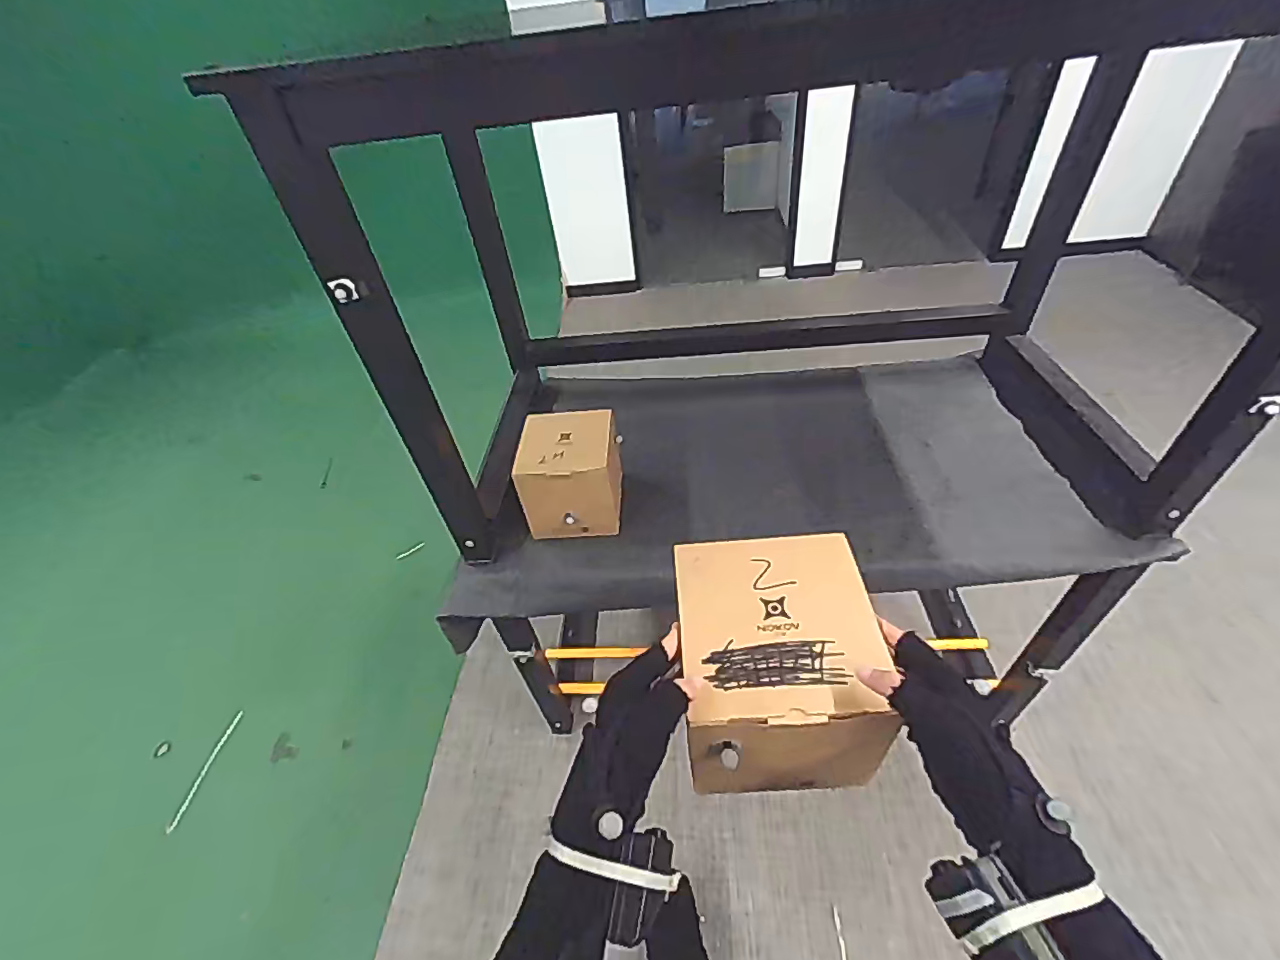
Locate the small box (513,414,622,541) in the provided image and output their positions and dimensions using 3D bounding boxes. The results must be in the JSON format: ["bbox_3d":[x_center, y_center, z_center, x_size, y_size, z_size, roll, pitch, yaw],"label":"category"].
[{"bbox_3d":[-0.126,-0.004,1.026,0.168,0.176,0.179,-4,42,5],"label":"small box"}]
